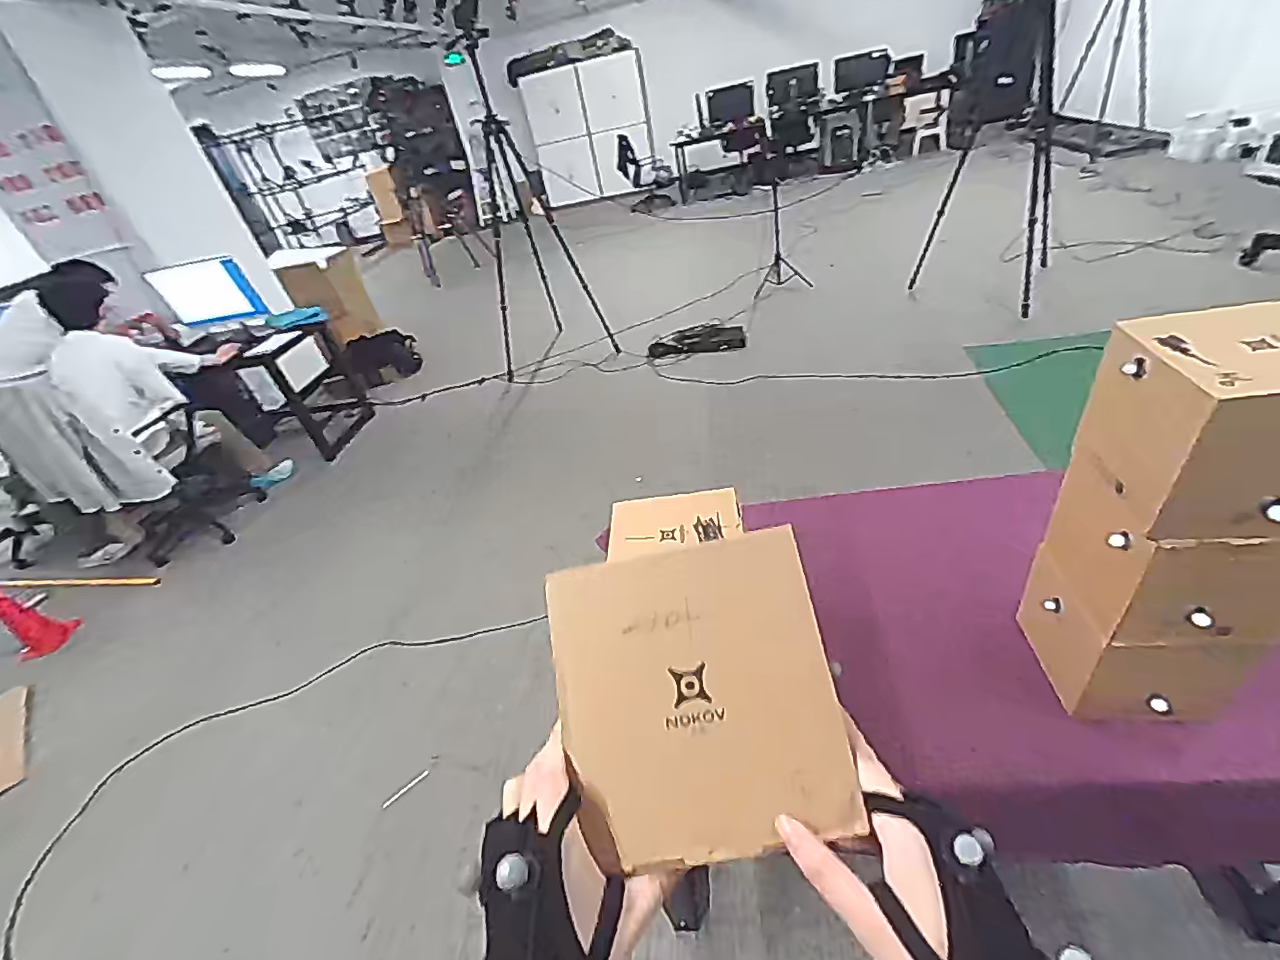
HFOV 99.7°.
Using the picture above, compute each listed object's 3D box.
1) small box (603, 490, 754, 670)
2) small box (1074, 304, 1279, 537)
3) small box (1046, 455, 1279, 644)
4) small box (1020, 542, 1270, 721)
[{"bbox_3d":[0.058,0.137,0.736,0.179,0.176,0.168,-8,36,8],"label":"small box"},{"bbox_3d":[0.588,-0.057,0.539,0.179,0.176,0.168,-3,37,13],"label":"small box"},{"bbox_3d":[0.623,0.071,0.637,0.168,0.176,0.179,-5,38,12],"label":"small box"},{"bbox_3d":[0.652,0.199,0.733,0.168,0.176,0.179,-6,37,12],"label":"small box"}]
